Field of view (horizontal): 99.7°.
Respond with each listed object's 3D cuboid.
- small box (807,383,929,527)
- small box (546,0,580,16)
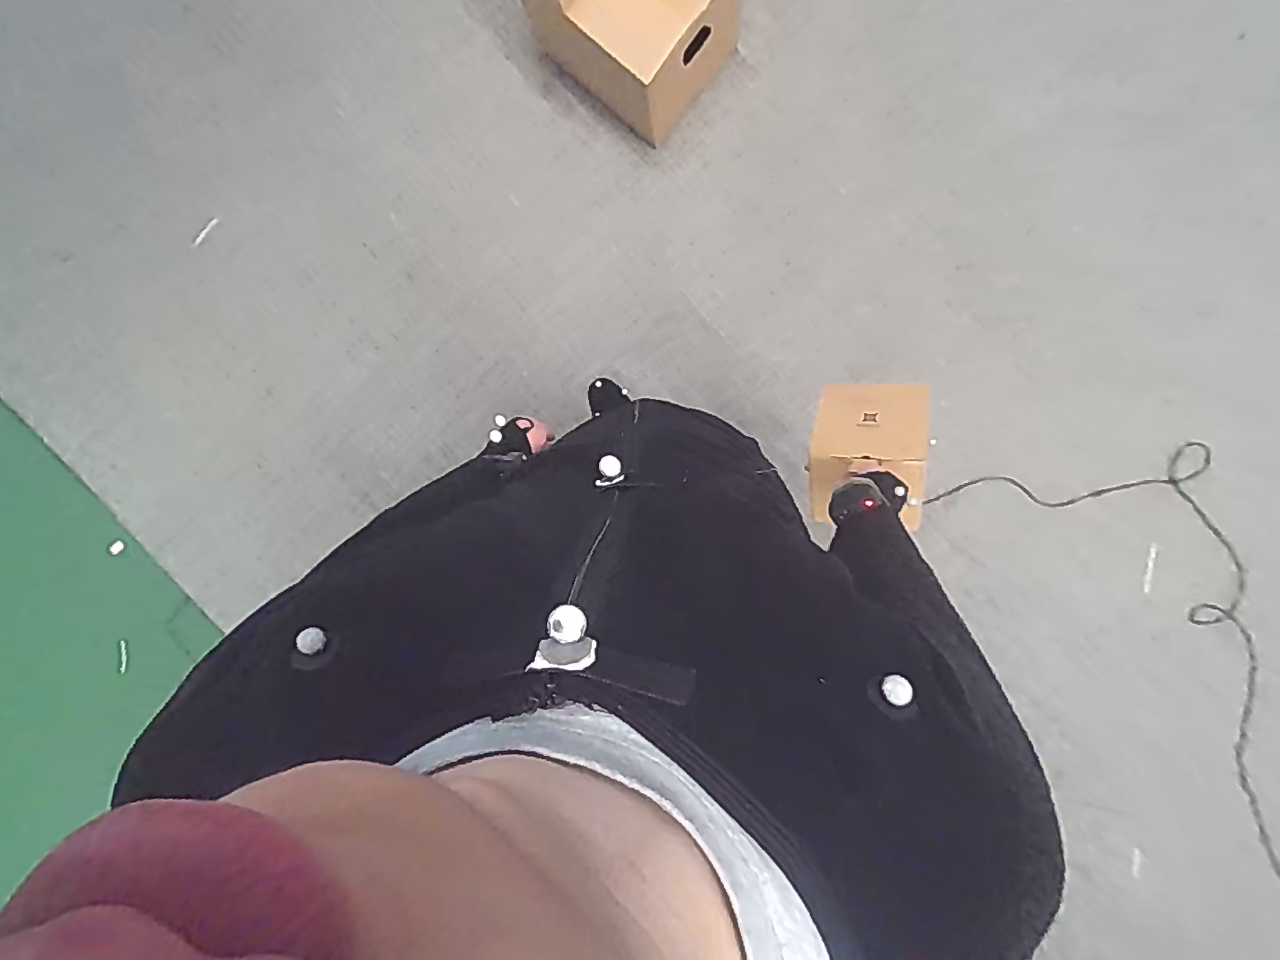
[{"bbox_3d":[0.381,-0.042,0.908,0.168,0.179,0.176,6,140,23],"label":"small box"},{"bbox_3d":[-0.165,-1.060,1.026,0.168,0.176,0.179,42,104,-1],"label":"small box"}]
